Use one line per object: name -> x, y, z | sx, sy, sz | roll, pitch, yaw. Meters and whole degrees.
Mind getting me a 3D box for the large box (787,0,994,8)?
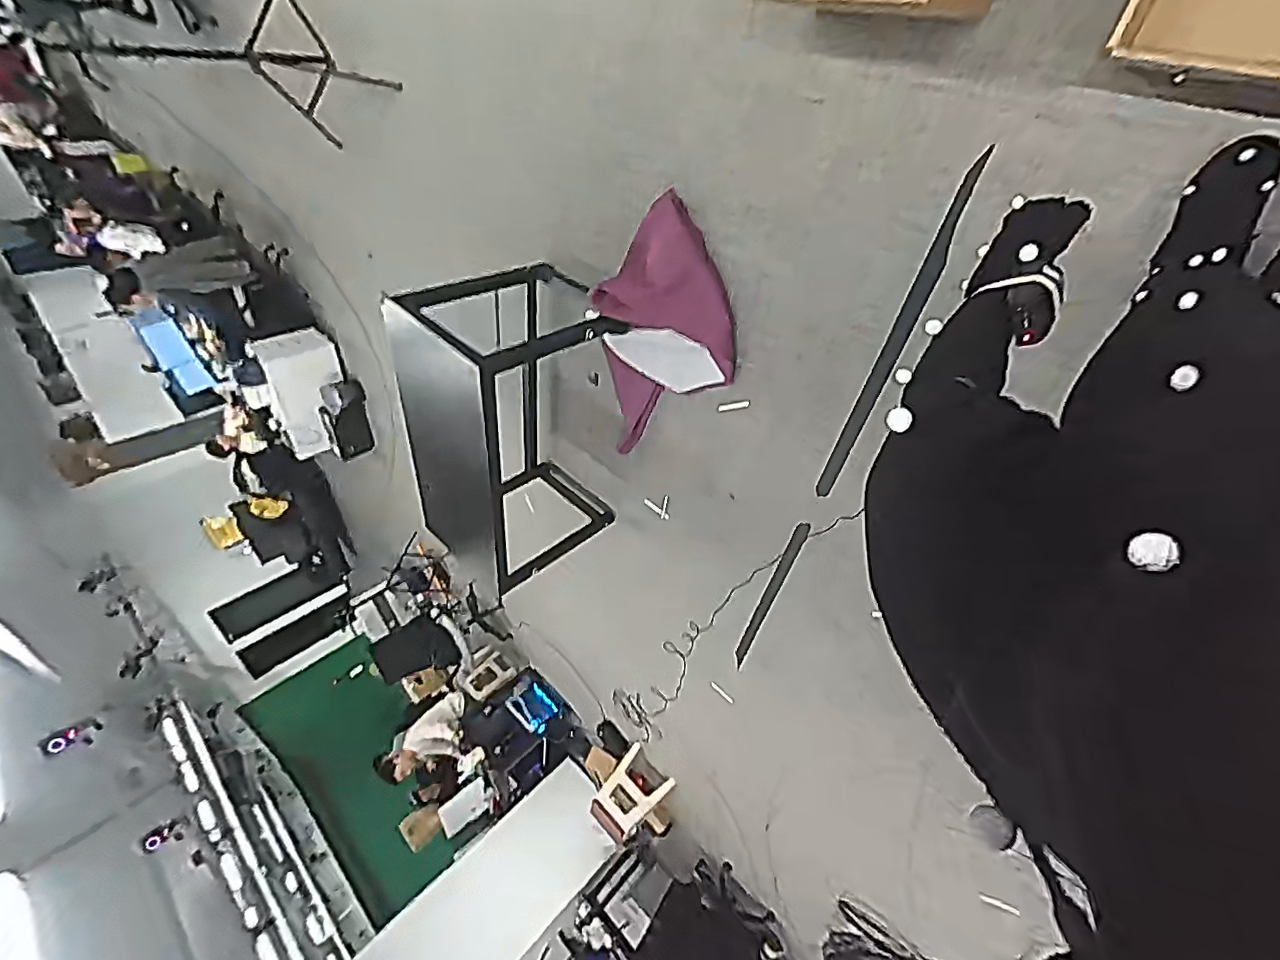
large box -> 0.456, -1.075, 0.976 | 0.408, 0.320, 0.320 | 32, 137, 30
